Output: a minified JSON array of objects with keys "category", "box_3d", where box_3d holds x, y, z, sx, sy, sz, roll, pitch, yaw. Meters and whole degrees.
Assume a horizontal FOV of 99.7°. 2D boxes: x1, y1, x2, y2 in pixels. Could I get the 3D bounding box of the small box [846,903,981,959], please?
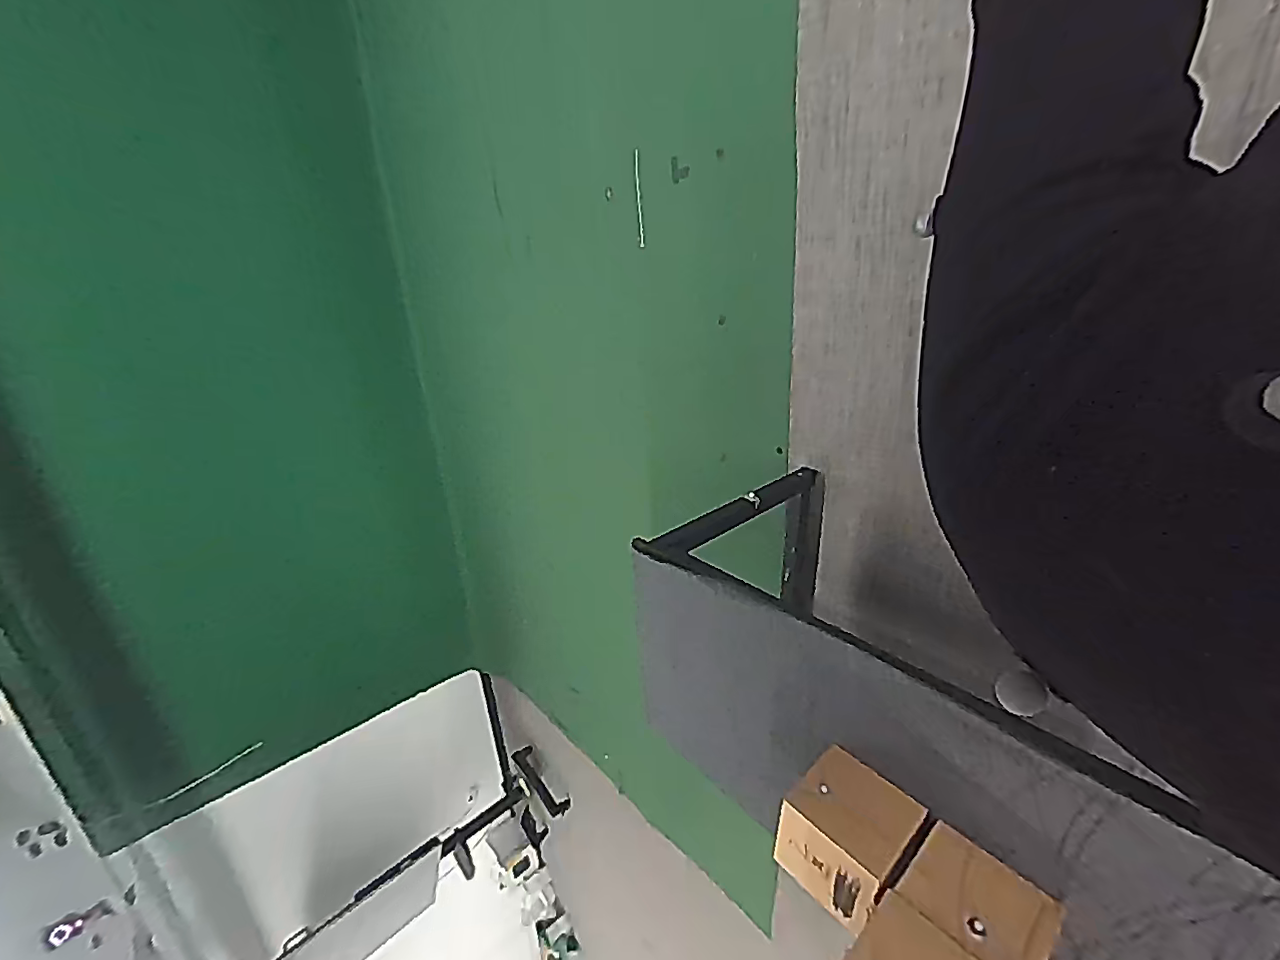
[{"category":"small box","box_3d":[0.366,0.708,0.706,0.179,0.176,0.168,22,122,44]}]
